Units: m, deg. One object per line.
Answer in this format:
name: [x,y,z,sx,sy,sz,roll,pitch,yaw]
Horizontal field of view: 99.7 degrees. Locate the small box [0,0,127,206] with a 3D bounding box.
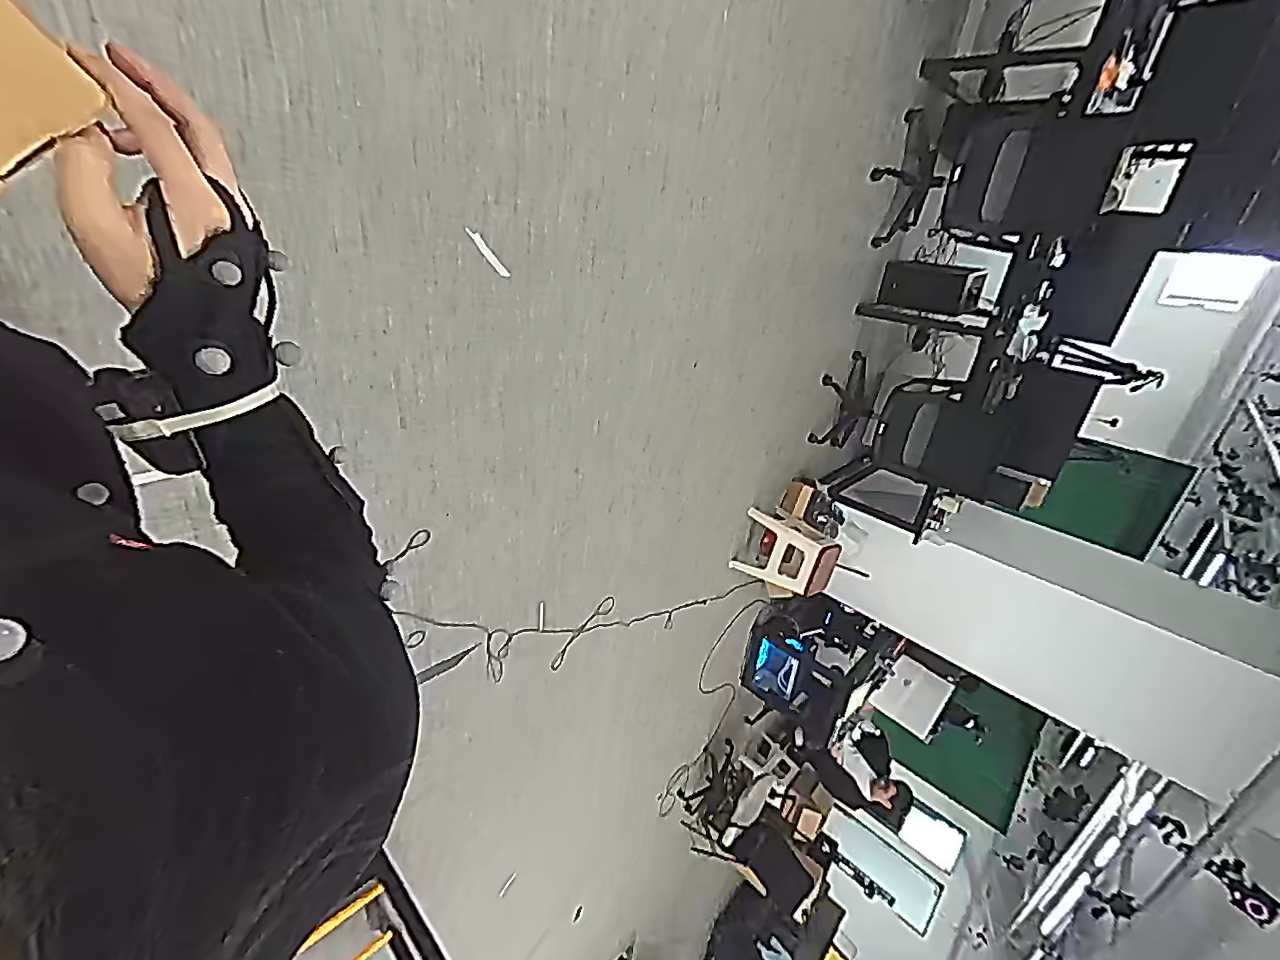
small box: [-0.379,-0.202,0.217,0.168,0.176,0.179,-45,148,-11]
